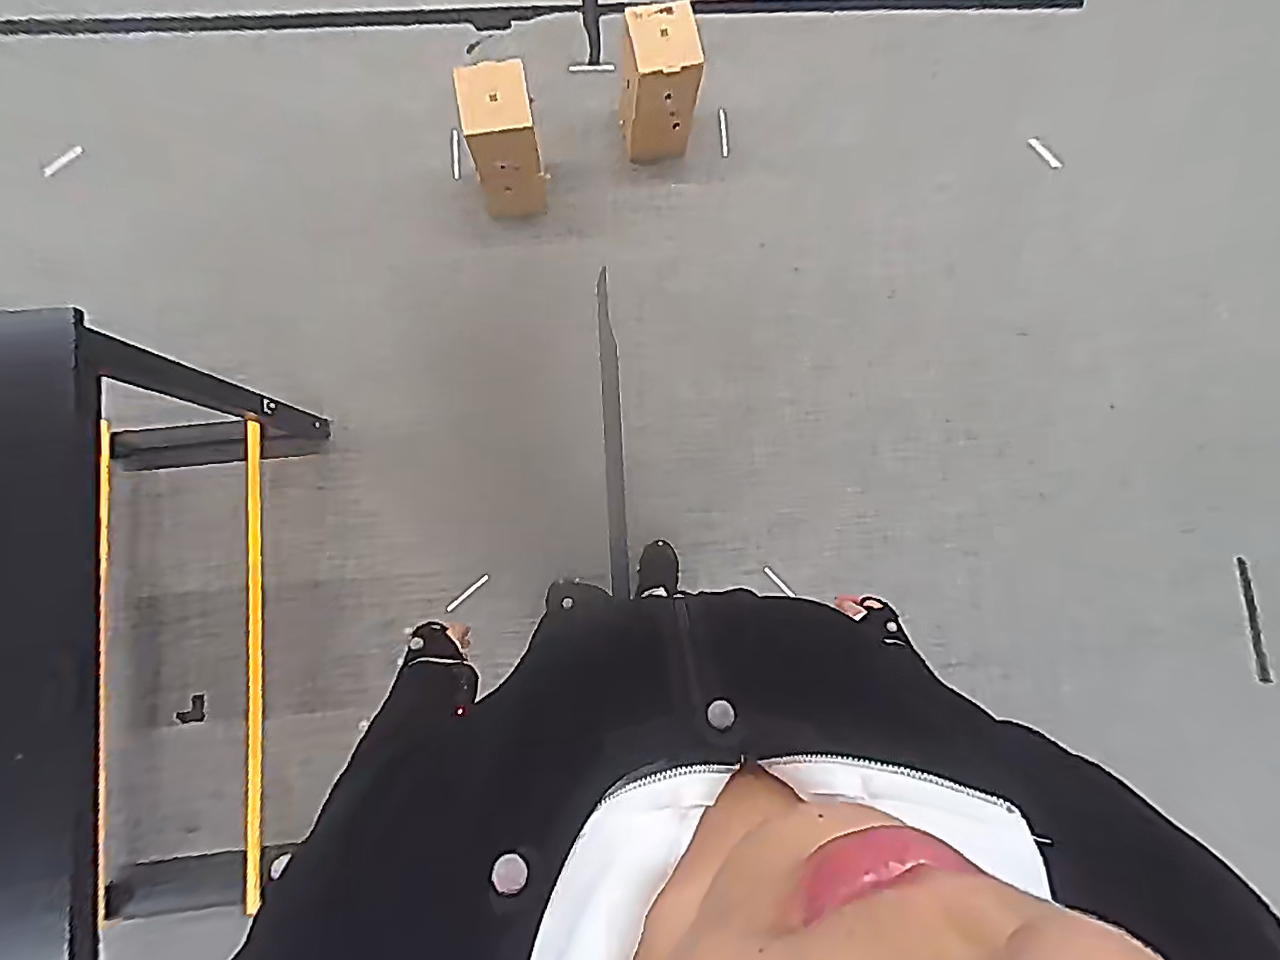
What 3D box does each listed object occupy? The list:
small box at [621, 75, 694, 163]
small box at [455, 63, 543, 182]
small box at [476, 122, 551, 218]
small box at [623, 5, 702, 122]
[{"bbox_3d":[0.044,-1.046,1.549,0.179,0.176,0.168,-10,85,-4],"label":"small box"},{"bbox_3d":[-0.345,-0.882,1.346,0.168,0.176,0.179,-11,86,-3],"label":"small box"},{"bbox_3d":[-0.353,-0.855,1.506,0.179,0.176,0.168,-7,85,-4],"label":"small box"},{"bbox_3d":[0.052,-1.053,1.386,0.168,0.176,0.179,-12,86,-5],"label":"small box"}]
